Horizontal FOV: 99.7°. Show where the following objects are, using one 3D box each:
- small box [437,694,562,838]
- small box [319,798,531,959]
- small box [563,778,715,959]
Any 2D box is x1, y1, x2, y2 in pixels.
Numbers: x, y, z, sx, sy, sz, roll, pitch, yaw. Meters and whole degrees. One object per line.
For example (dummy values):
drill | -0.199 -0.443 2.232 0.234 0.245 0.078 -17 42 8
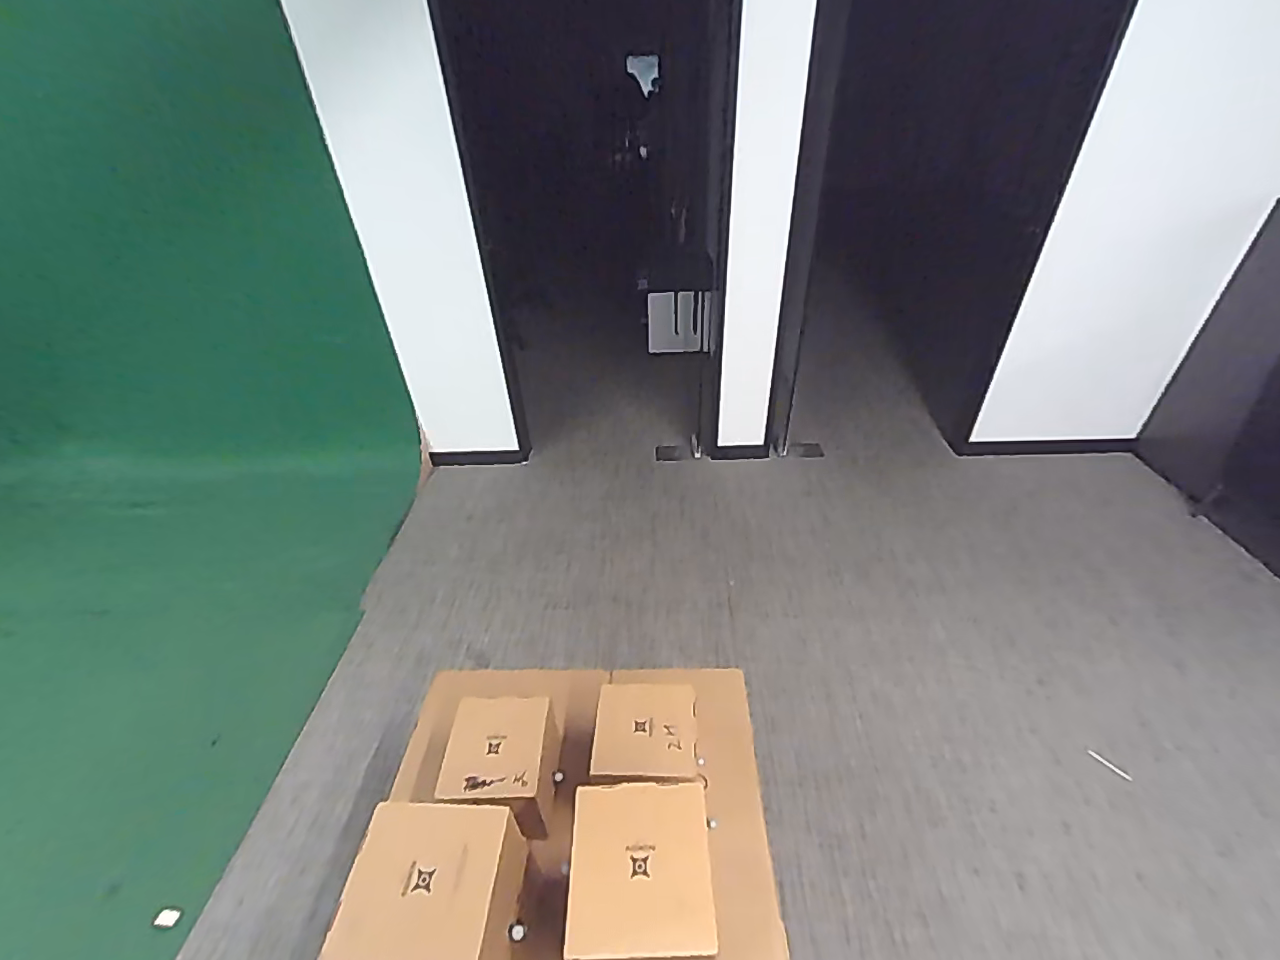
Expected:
small box | -0.237 0.509 0.968 0.168 0.176 0.179 -3 36 2
small box | -0.249 0.525 0.679 0.179 0.176 0.168 0 39 4
small box | 0.005 0.507 0.683 0.168 0.176 0.179 -3 37 2
